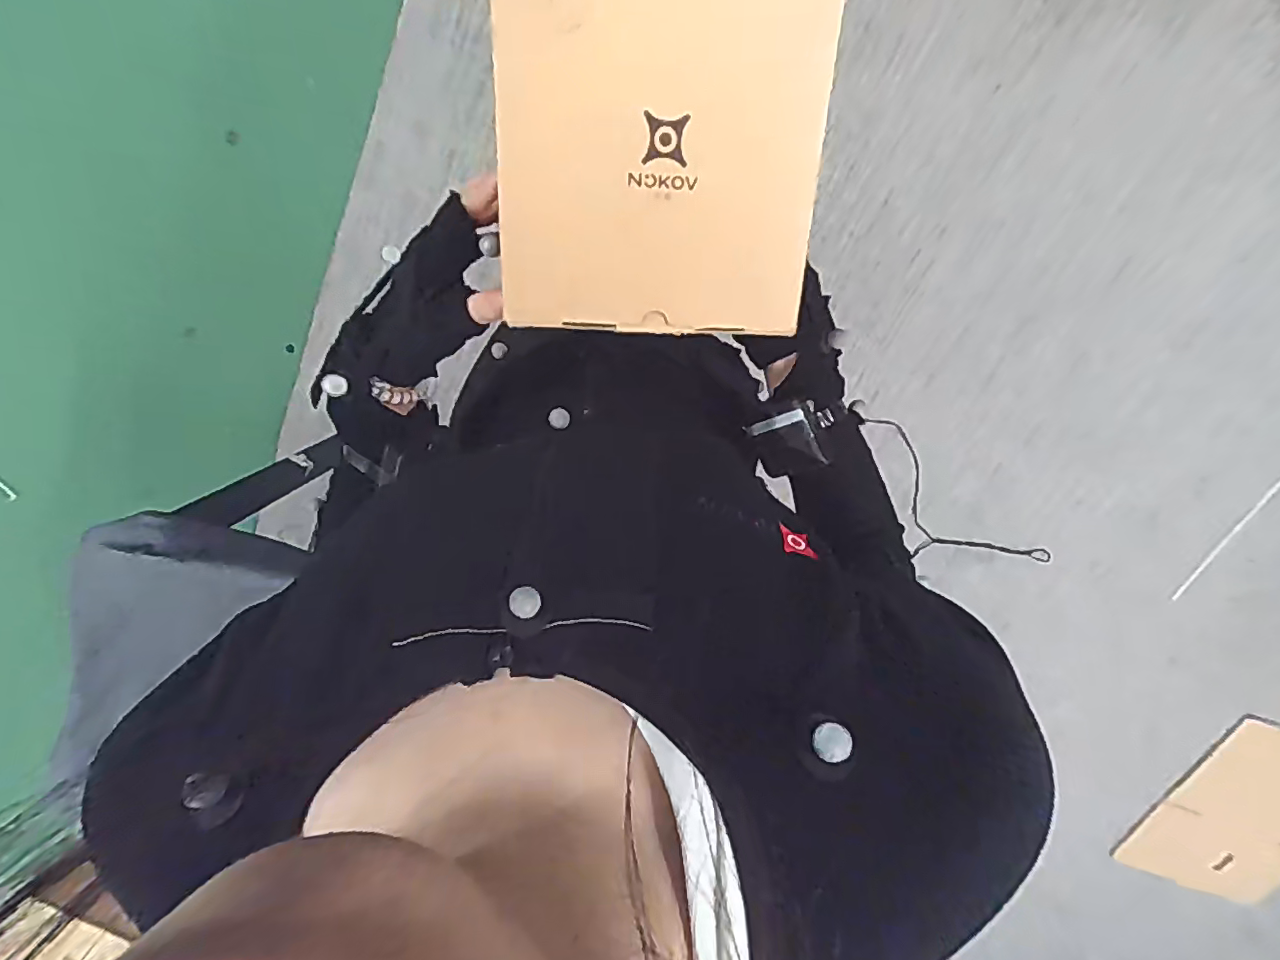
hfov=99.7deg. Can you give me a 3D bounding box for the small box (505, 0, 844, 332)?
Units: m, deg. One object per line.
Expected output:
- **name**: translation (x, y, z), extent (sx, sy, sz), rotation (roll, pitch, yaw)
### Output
- **small box**: translation (0.004, -0.198, 0.351), extent (0.168, 0.176, 0.179), rotation (0, 113, -7)
